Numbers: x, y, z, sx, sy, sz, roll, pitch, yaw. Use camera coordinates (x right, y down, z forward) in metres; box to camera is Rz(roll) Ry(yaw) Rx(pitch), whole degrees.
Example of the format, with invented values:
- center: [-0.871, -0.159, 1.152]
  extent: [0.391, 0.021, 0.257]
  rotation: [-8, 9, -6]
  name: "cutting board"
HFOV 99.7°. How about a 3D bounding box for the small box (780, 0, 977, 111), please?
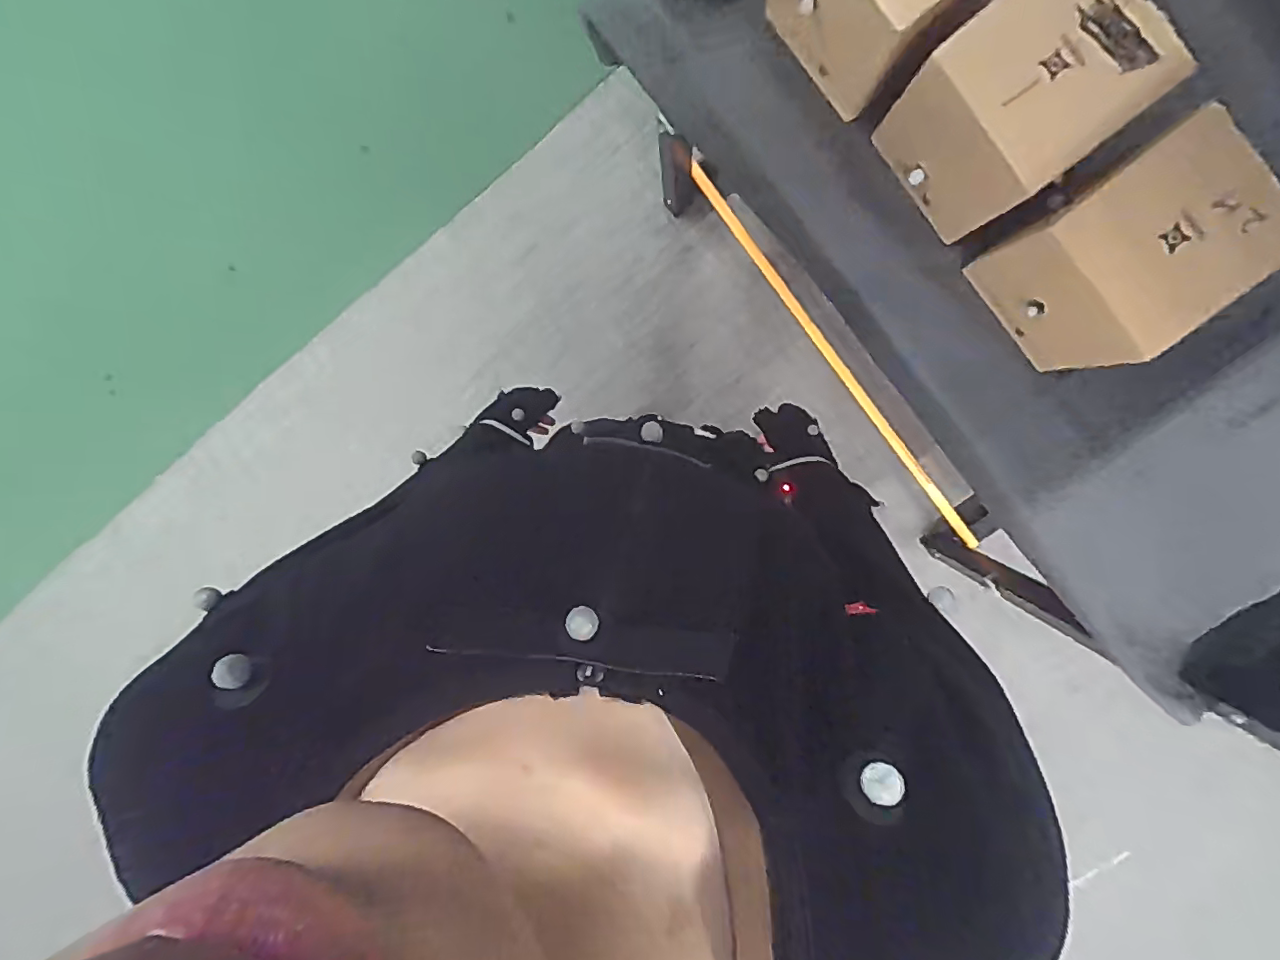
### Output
- center: [0.264, -0.542, 0.562]
  extent: [0.179, 0.176, 0.168]
  rotation: [-39, 94, 7]
  name: "small box"
